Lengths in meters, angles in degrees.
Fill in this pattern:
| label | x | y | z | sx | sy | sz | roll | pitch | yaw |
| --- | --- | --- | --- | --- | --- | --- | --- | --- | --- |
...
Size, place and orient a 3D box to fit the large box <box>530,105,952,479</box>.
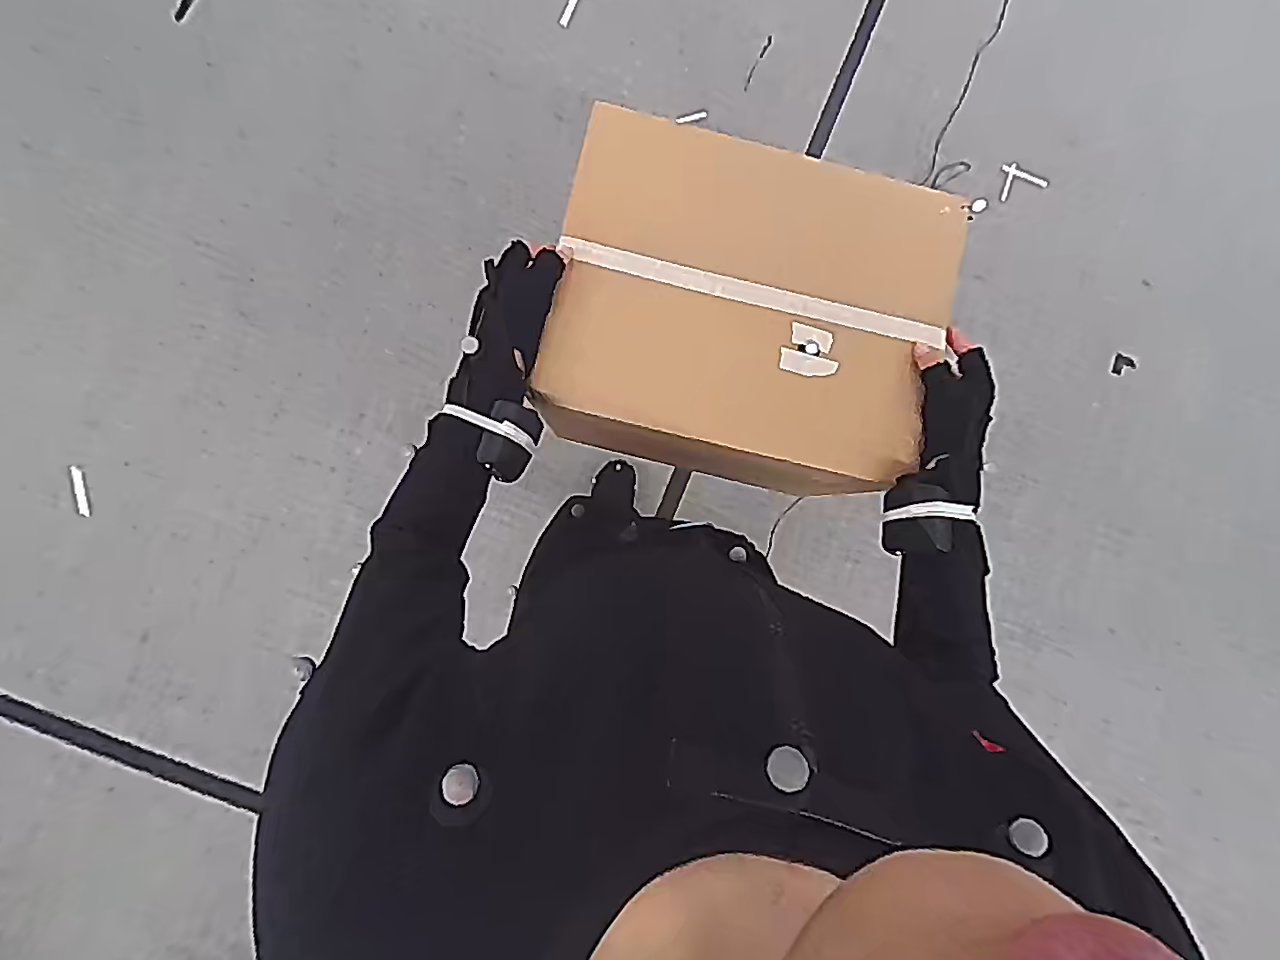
| label | x | y | z | sx | sy | sz | roll | pitch | yaw |
| --- | --- | --- | --- | --- | --- | --- | --- | --- | --- |
| large box | 0.101 | -0.196 | 0.711 | 0.408 | 0.320 | 0.320 | 13 | 88 | -3 |
